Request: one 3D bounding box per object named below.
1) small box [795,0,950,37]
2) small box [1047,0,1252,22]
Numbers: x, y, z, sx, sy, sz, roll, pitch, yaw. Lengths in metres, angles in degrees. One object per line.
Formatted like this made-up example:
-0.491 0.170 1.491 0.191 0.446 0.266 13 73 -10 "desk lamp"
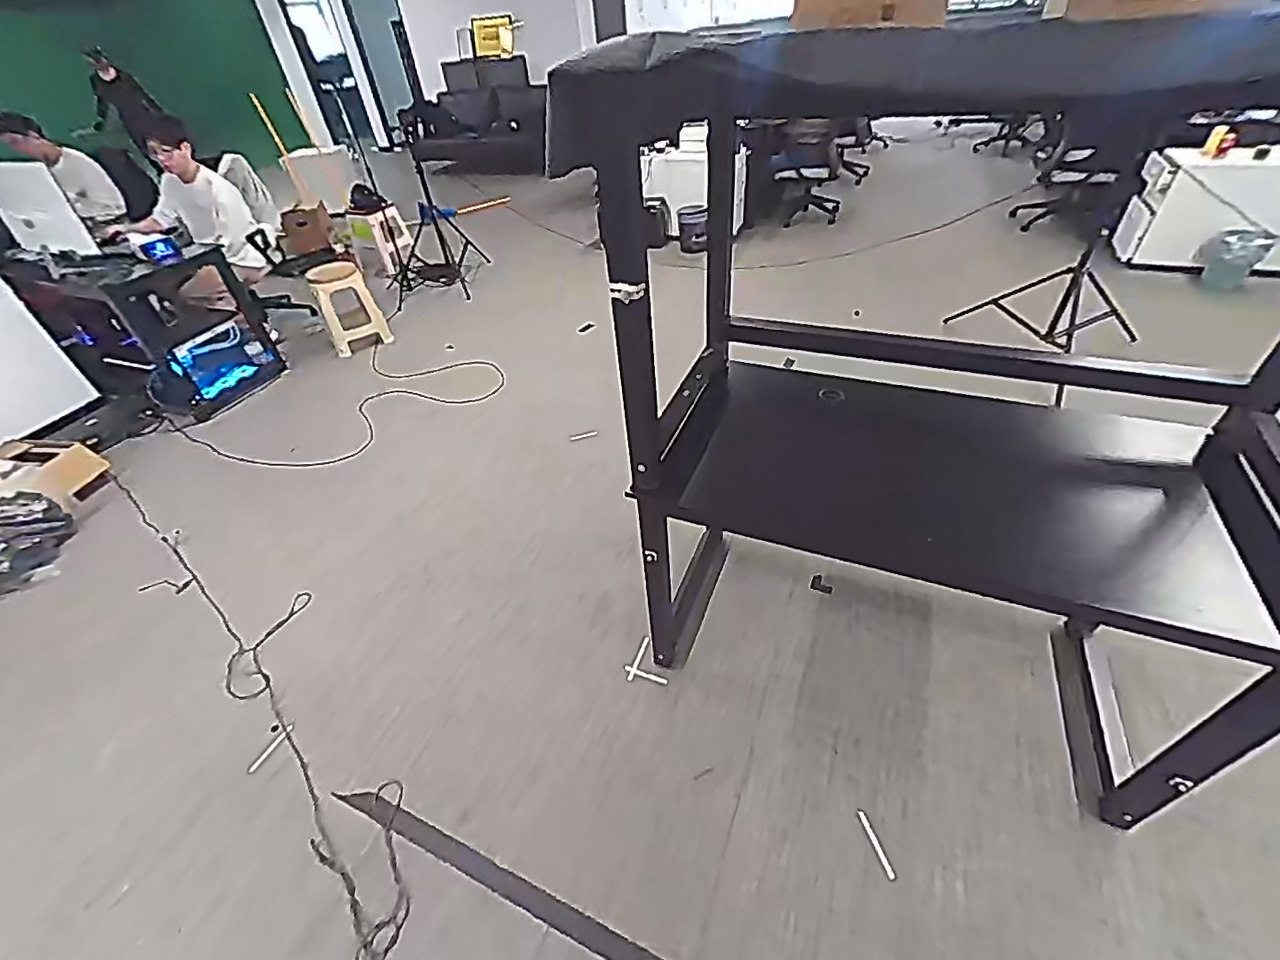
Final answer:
0.273 -0.622 0.621 0.168 0.176 0.179 7 42 14 "small box"
0.544 -0.576 0.540 0.168 0.176 0.179 13 42 19 "small box"
